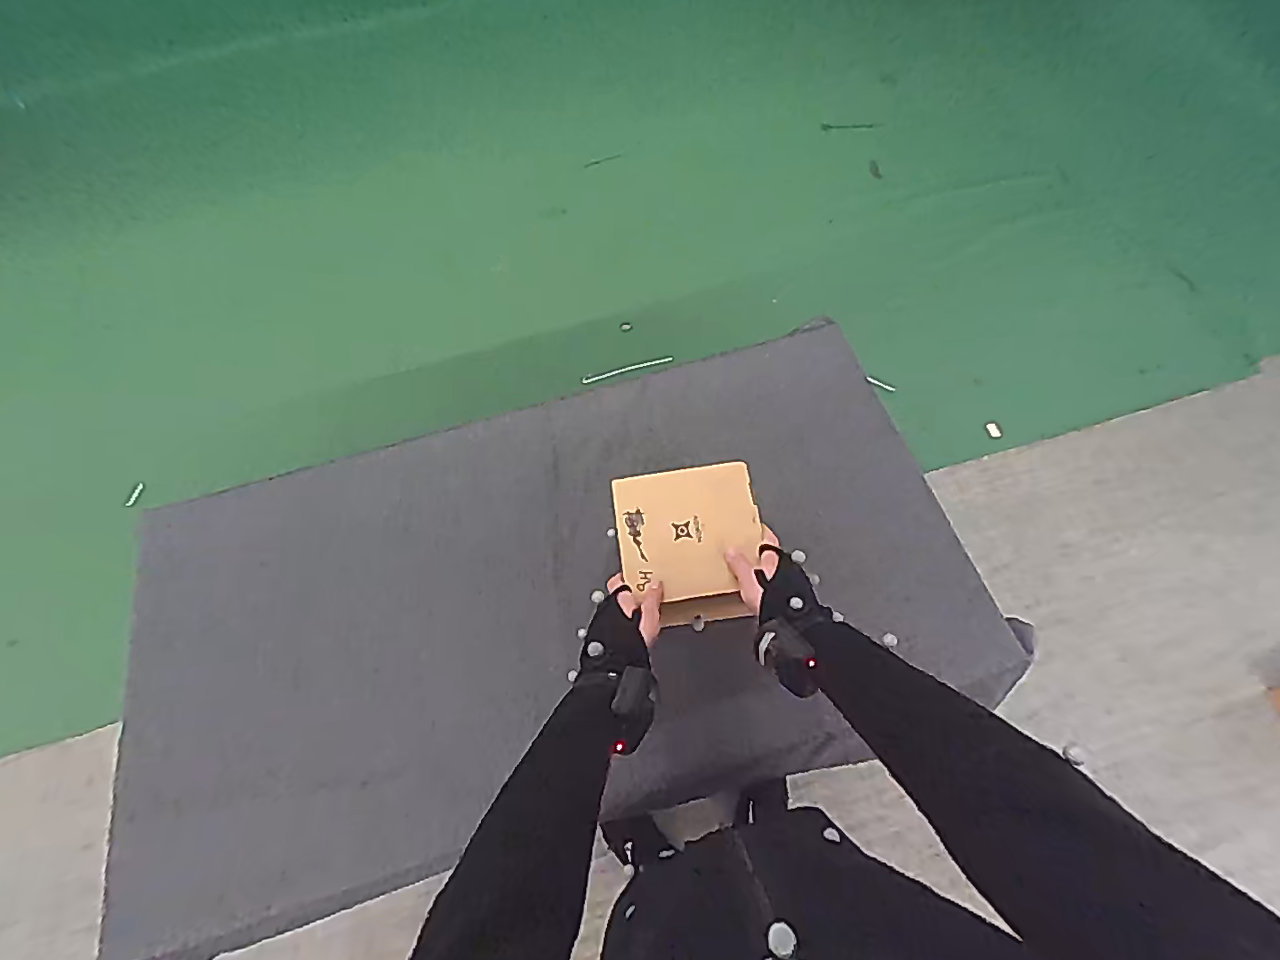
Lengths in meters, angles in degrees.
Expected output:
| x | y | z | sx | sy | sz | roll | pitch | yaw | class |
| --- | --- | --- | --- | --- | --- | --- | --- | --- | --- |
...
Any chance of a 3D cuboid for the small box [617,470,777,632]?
| x | y | z | sx | sy | sz | roll | pitch | yaw | class |
| --- | --- | --- | --- | --- | --- | --- | --- | --- | --- |
| 0.067 | 0.102 | 0.730 | 0.179 | 0.176 | 0.168 | -7 | 65 | -1 | small box |
